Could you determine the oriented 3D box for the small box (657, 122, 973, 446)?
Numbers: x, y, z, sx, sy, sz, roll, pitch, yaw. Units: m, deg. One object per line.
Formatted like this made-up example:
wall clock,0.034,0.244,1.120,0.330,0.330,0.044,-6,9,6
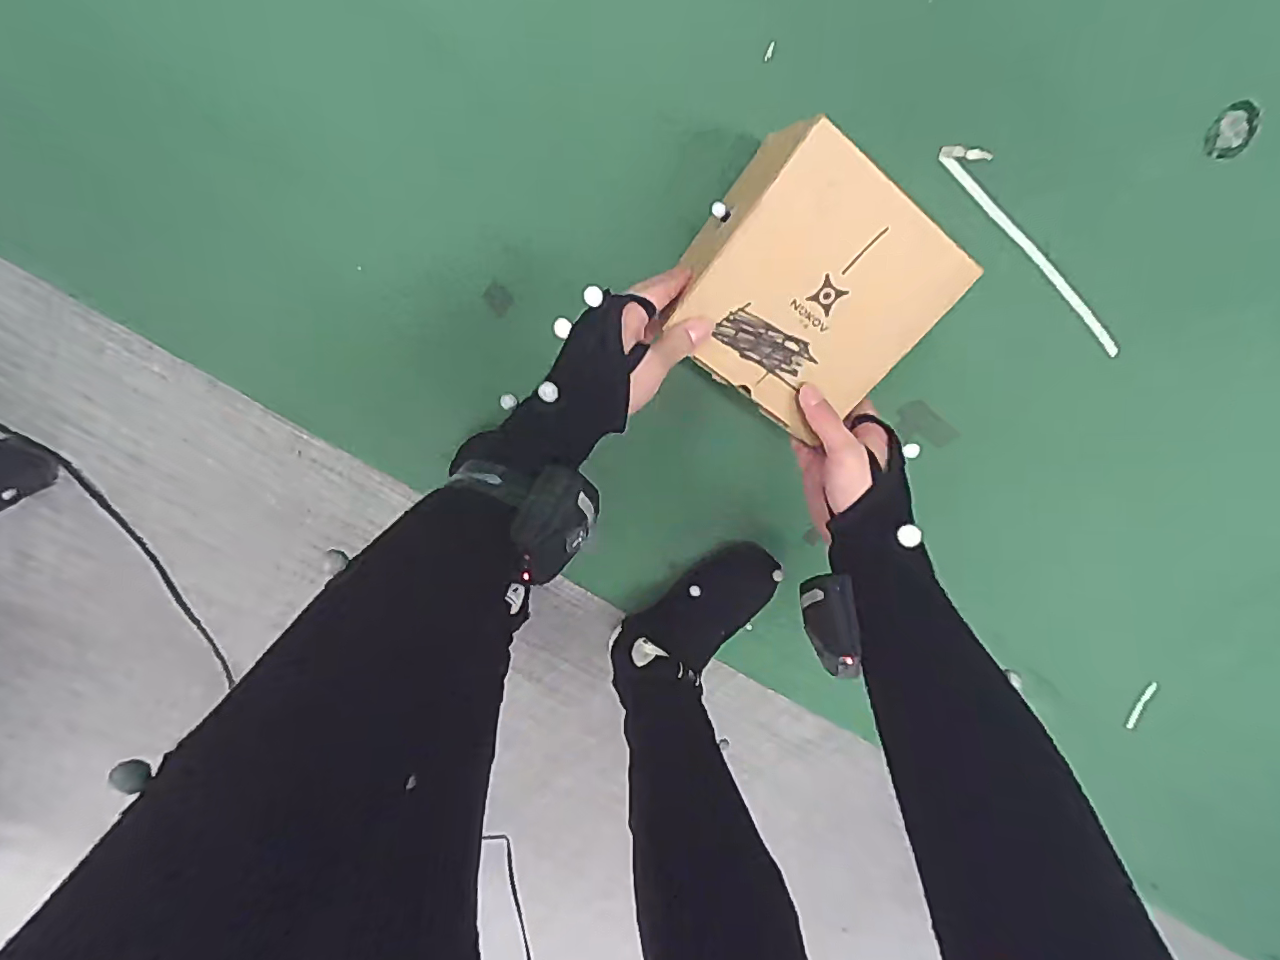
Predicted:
small box,0.131,-0.168,0.475,0.168,0.176,0.179,33,113,-16
